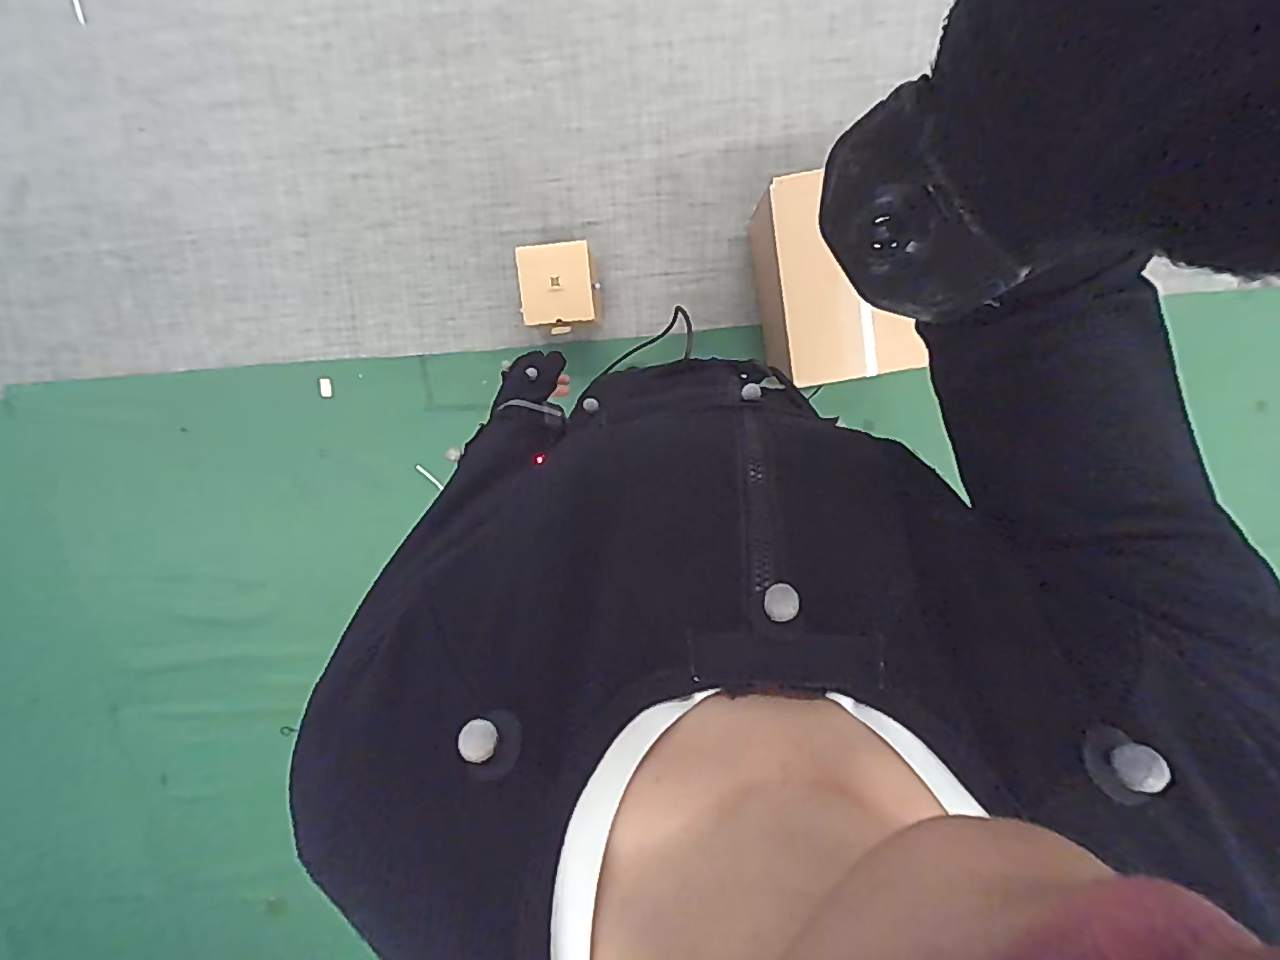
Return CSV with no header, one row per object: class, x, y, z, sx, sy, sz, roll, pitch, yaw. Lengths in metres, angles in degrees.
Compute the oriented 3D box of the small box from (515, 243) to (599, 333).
small box,-0.195,-0.461,1.317,0.168,0.176,0.179,-5,102,3
